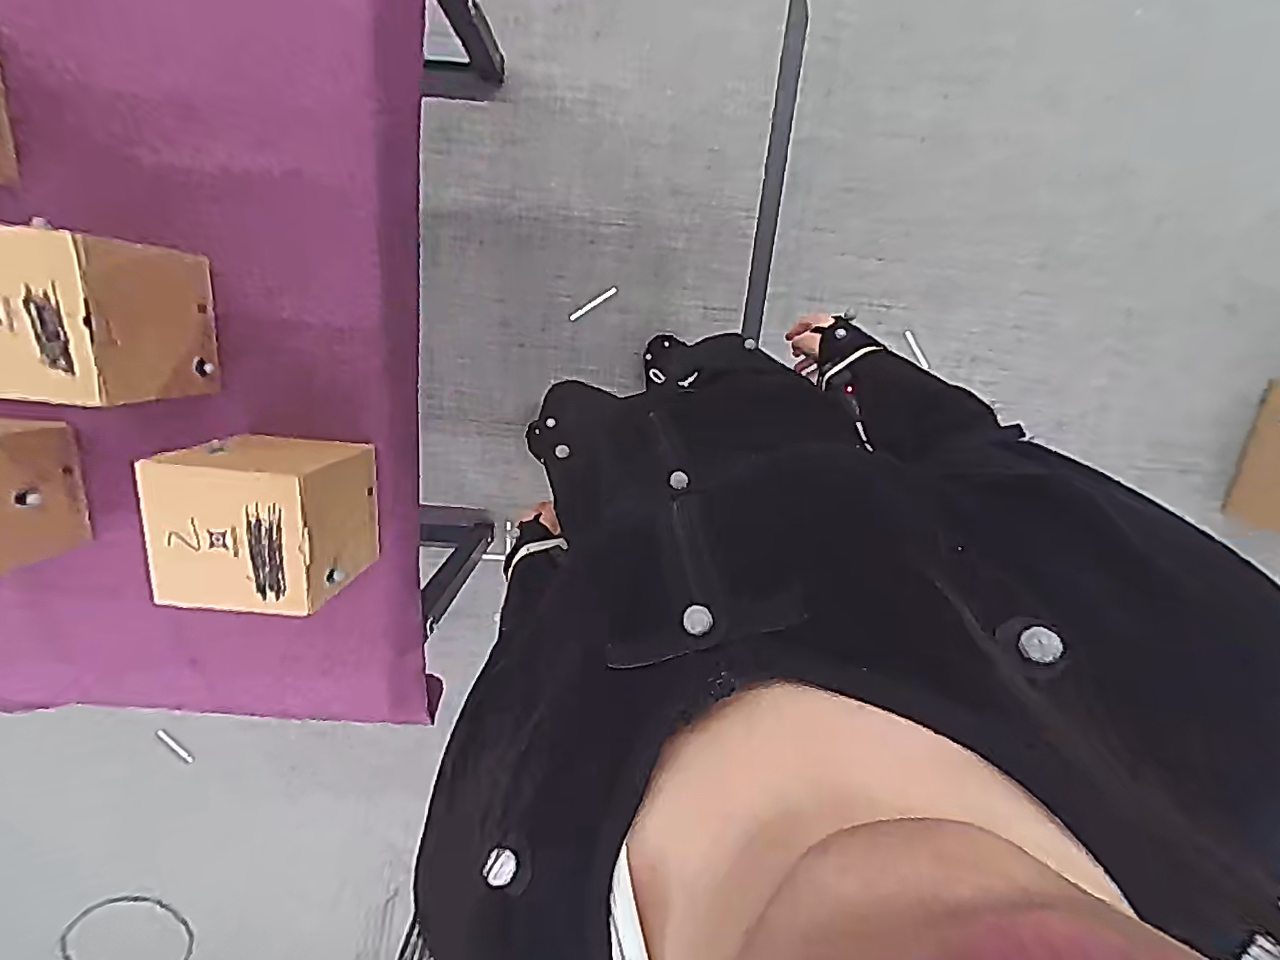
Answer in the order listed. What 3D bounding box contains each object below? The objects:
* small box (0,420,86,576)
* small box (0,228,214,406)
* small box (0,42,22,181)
[{"bbox_3d":[-0.830,0.018,0.650,0.179,0.176,0.168,3,104,-4],"label":"small box"},{"bbox_3d":[-0.620,-0.181,0.606,0.179,0.176,0.168,5,104,-2],"label":"small box"},{"bbox_3d":[-0.807,-0.415,0.540,0.179,0.176,0.168,4,105,-3],"label":"small box"}]
